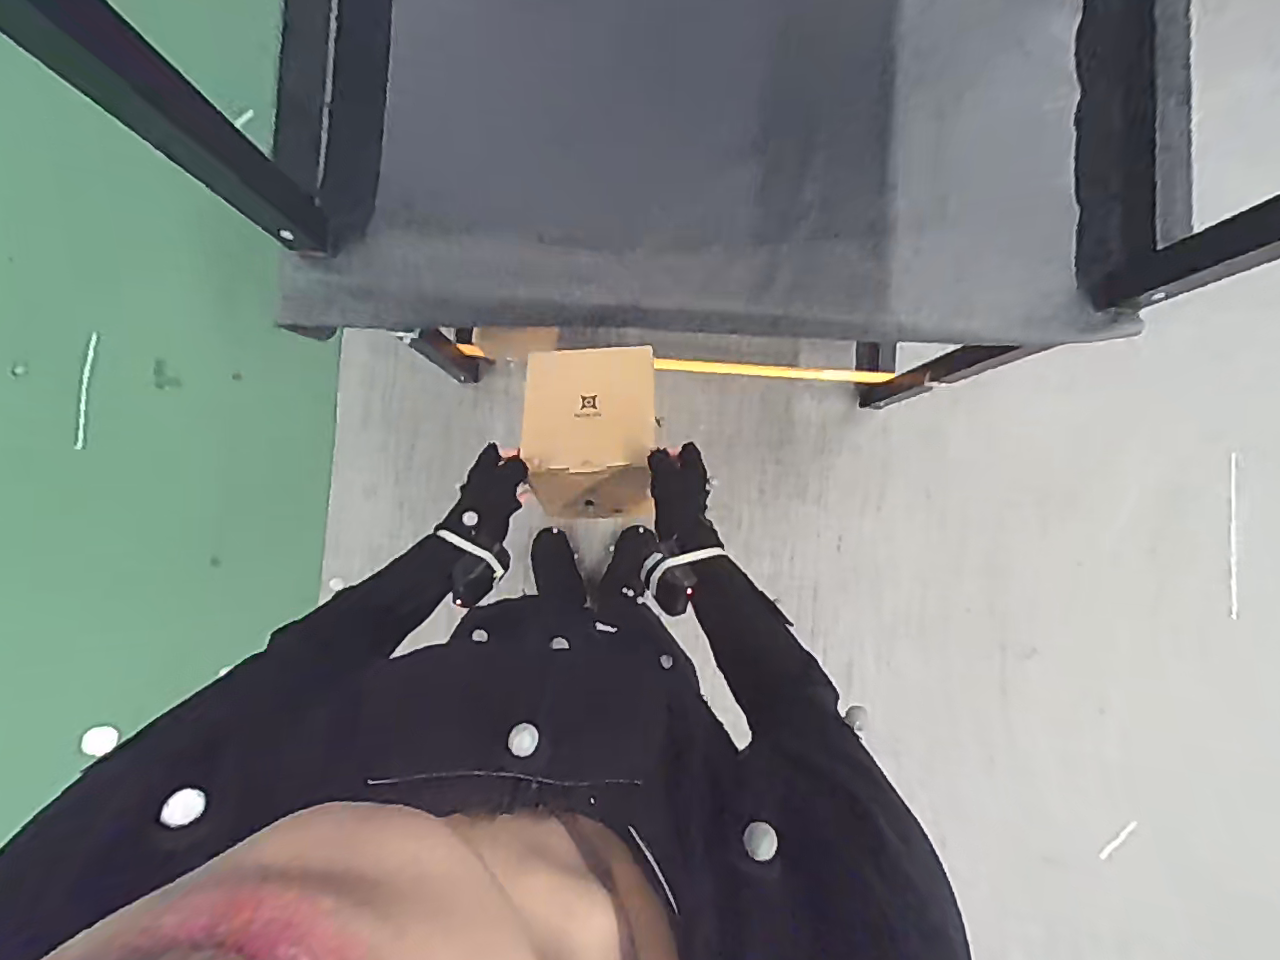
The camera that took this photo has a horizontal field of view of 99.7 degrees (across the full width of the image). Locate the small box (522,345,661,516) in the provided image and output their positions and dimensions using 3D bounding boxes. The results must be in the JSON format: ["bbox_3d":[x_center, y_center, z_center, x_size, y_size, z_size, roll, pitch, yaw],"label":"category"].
[{"bbox_3d":[-0.058,-0.062,0.748,0.168,0.176,0.179,-3,65,3],"label":"small box"}]
